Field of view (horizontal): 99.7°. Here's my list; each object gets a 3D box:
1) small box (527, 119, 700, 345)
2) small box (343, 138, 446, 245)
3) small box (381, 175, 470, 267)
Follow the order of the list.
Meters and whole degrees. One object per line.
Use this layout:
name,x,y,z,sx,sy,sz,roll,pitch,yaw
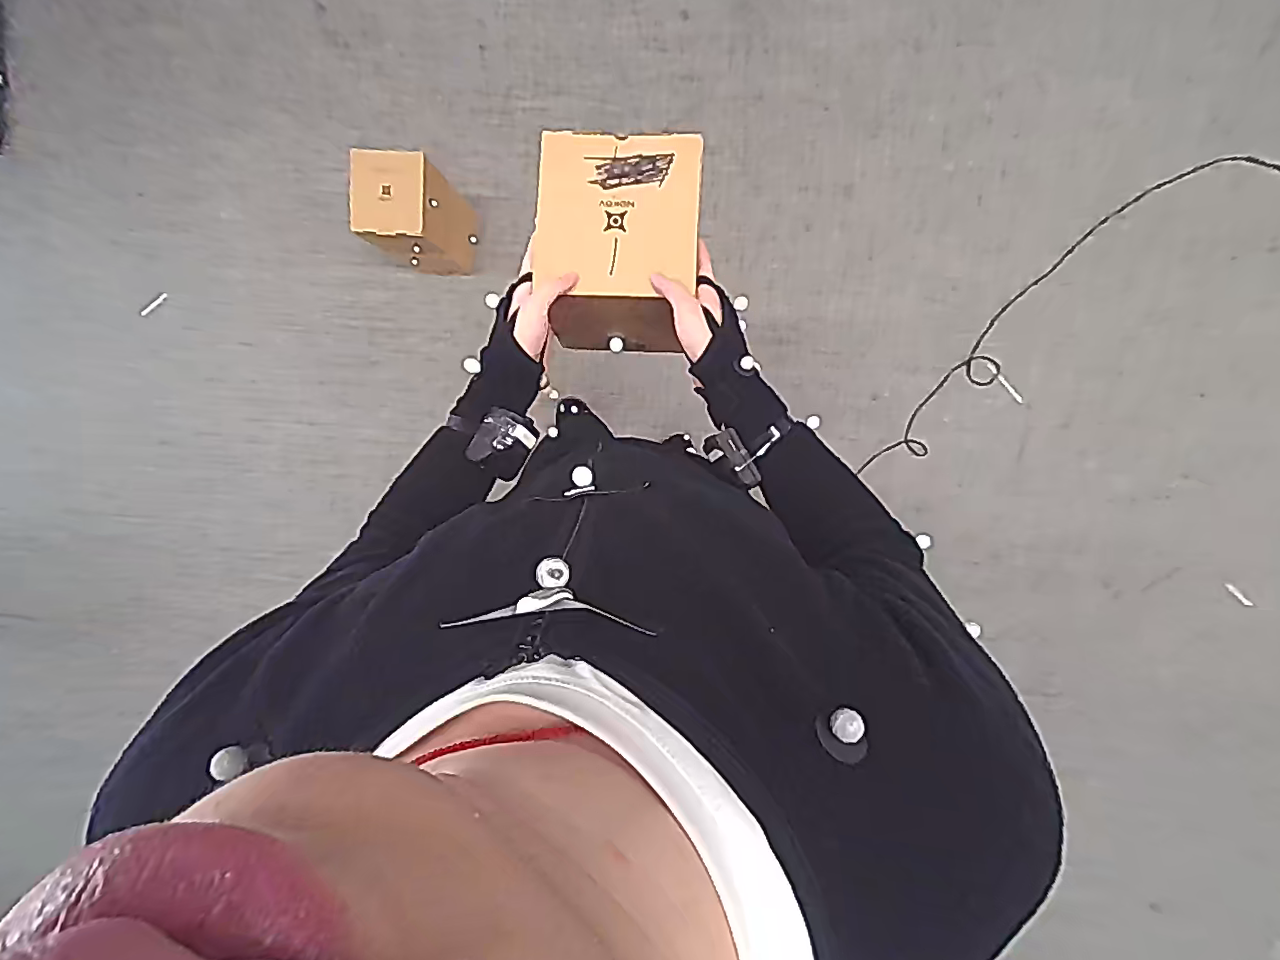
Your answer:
small box,-0.024,-0.271,0.622,0.168,0.176,0.179,3,86,3
small box,-0.563,-0.660,1.256,0.168,0.176,0.179,3,96,1
small box,-0.556,-0.679,1.417,0.168,0.176,0.179,5,97,2
